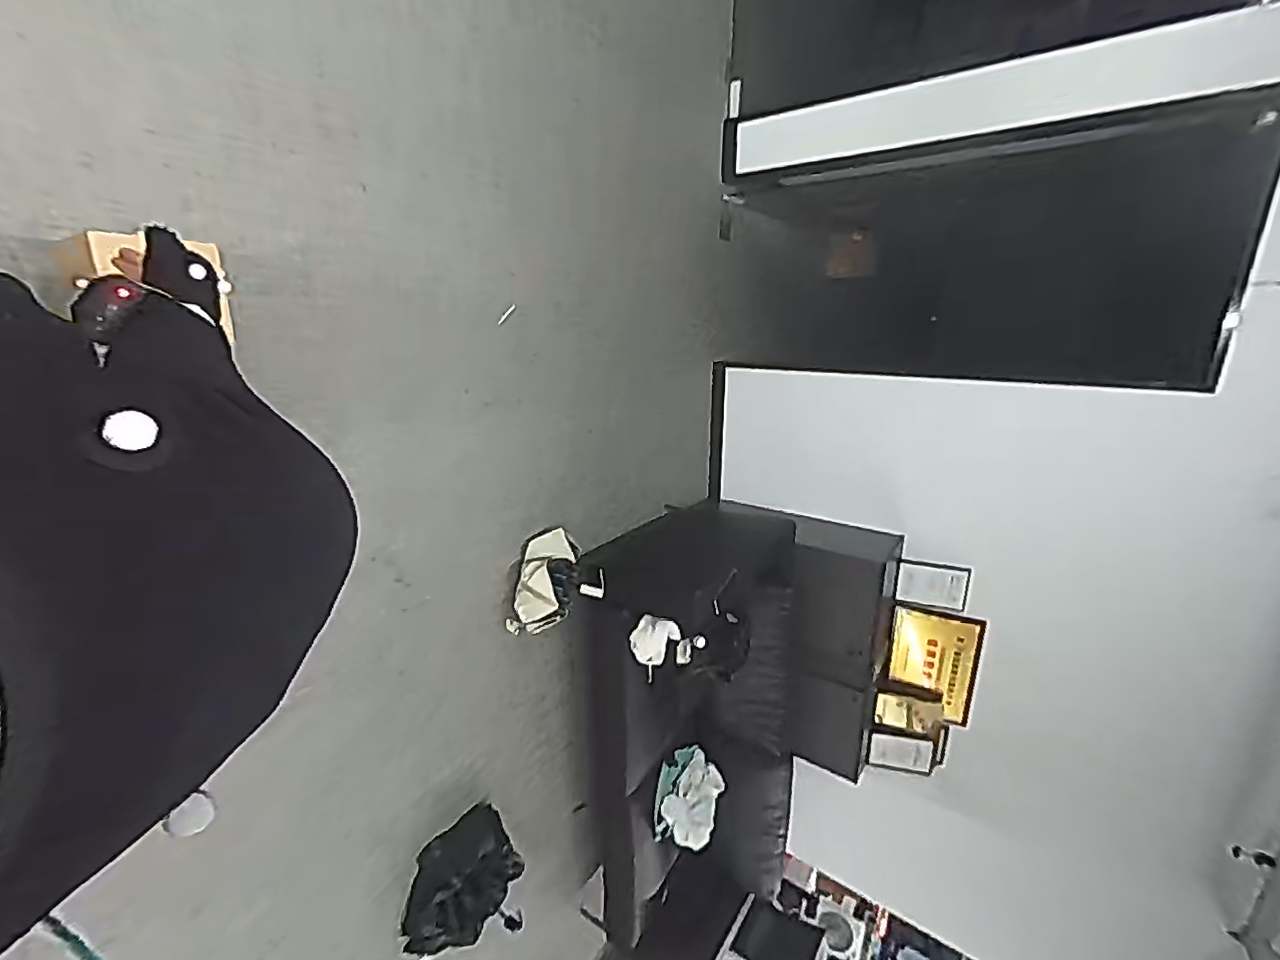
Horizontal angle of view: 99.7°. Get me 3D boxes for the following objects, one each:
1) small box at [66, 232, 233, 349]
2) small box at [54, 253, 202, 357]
[{"bbox_3d":[-0.857,-0.323,0.948,0.168,0.176,0.179,-21,117,-51],"label":"small box"},{"bbox_3d":[-0.989,-0.333,1.047,0.168,0.176,0.179,-17,114,-53],"label":"small box"}]
